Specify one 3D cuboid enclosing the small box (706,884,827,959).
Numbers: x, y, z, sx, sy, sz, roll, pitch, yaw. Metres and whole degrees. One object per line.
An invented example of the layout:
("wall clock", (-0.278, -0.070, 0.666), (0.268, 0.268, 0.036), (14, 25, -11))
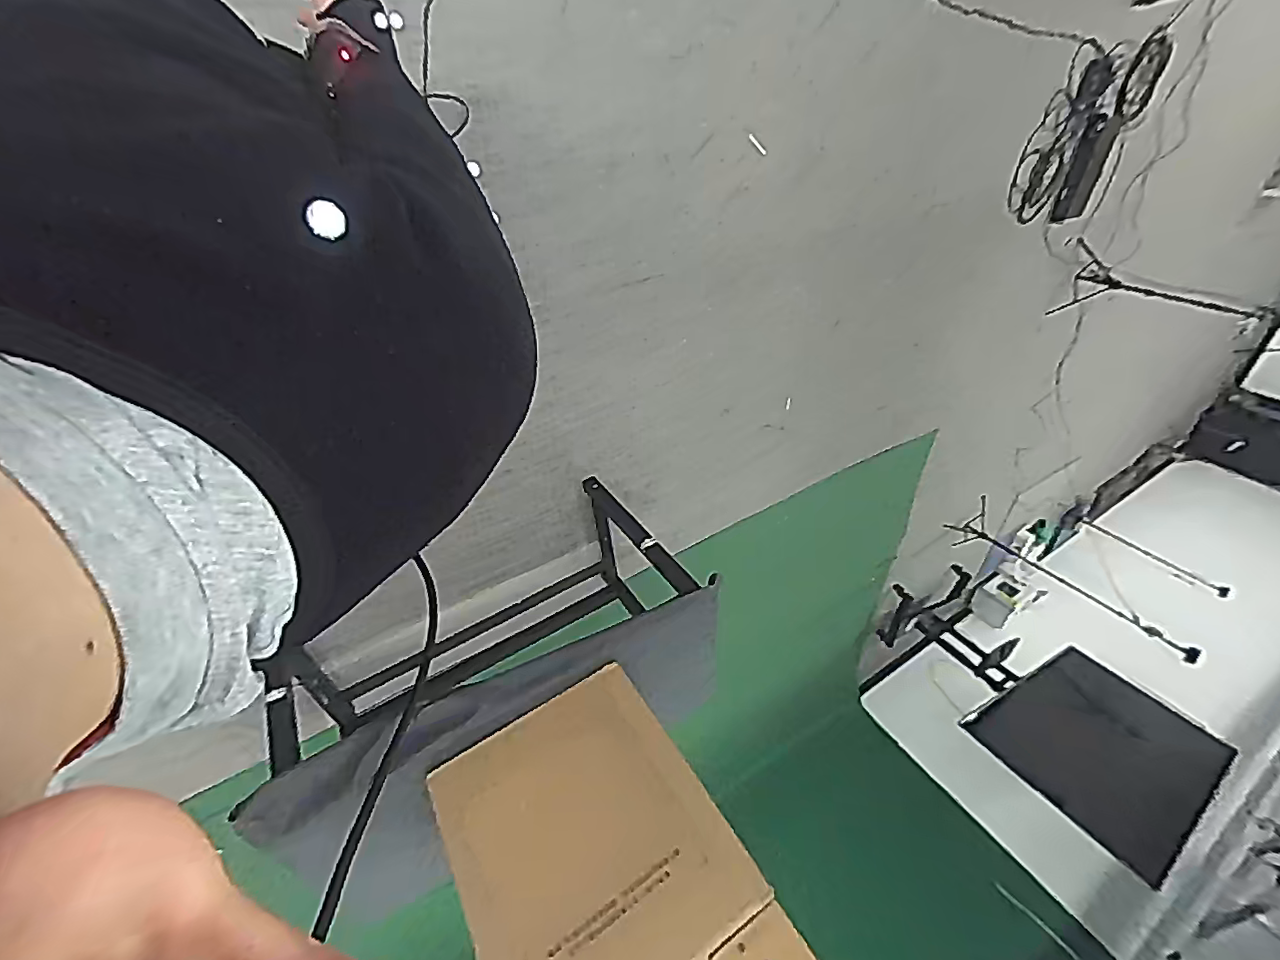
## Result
("small box", (0.241, 0.937, 1.050), (0.168, 0.176, 0.179), (-26, 133, -23))
